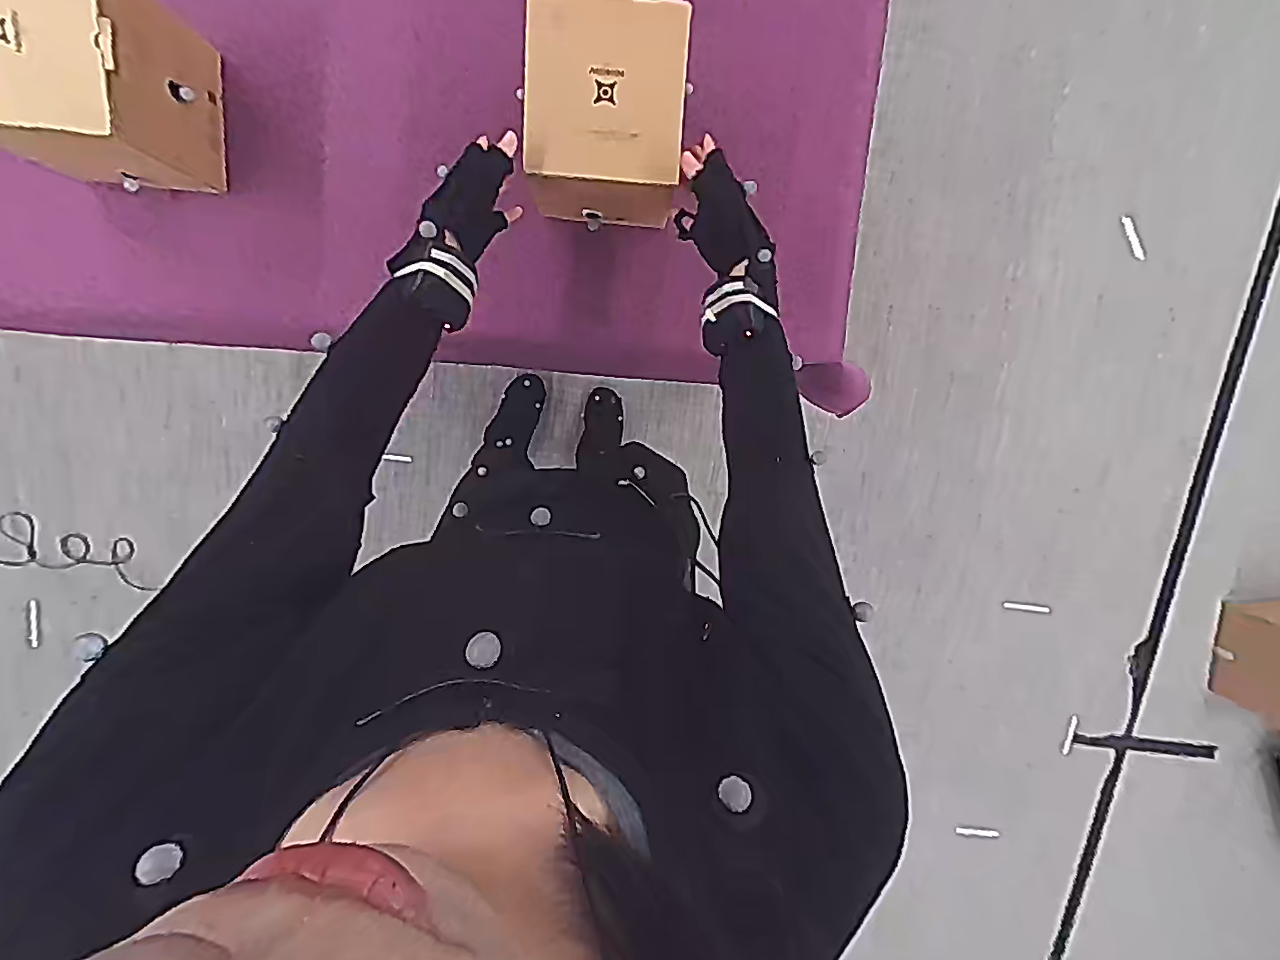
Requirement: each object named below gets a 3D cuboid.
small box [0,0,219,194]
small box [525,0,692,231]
[{"bbox_3d":[-0.598,-0.431,0.589,0.179,0.176,0.168,3,99,-5],"label":"small box"},{"bbox_3d":[-0.038,-0.412,0.631,0.168,0.176,0.179,3,100,-3],"label":"small box"}]
